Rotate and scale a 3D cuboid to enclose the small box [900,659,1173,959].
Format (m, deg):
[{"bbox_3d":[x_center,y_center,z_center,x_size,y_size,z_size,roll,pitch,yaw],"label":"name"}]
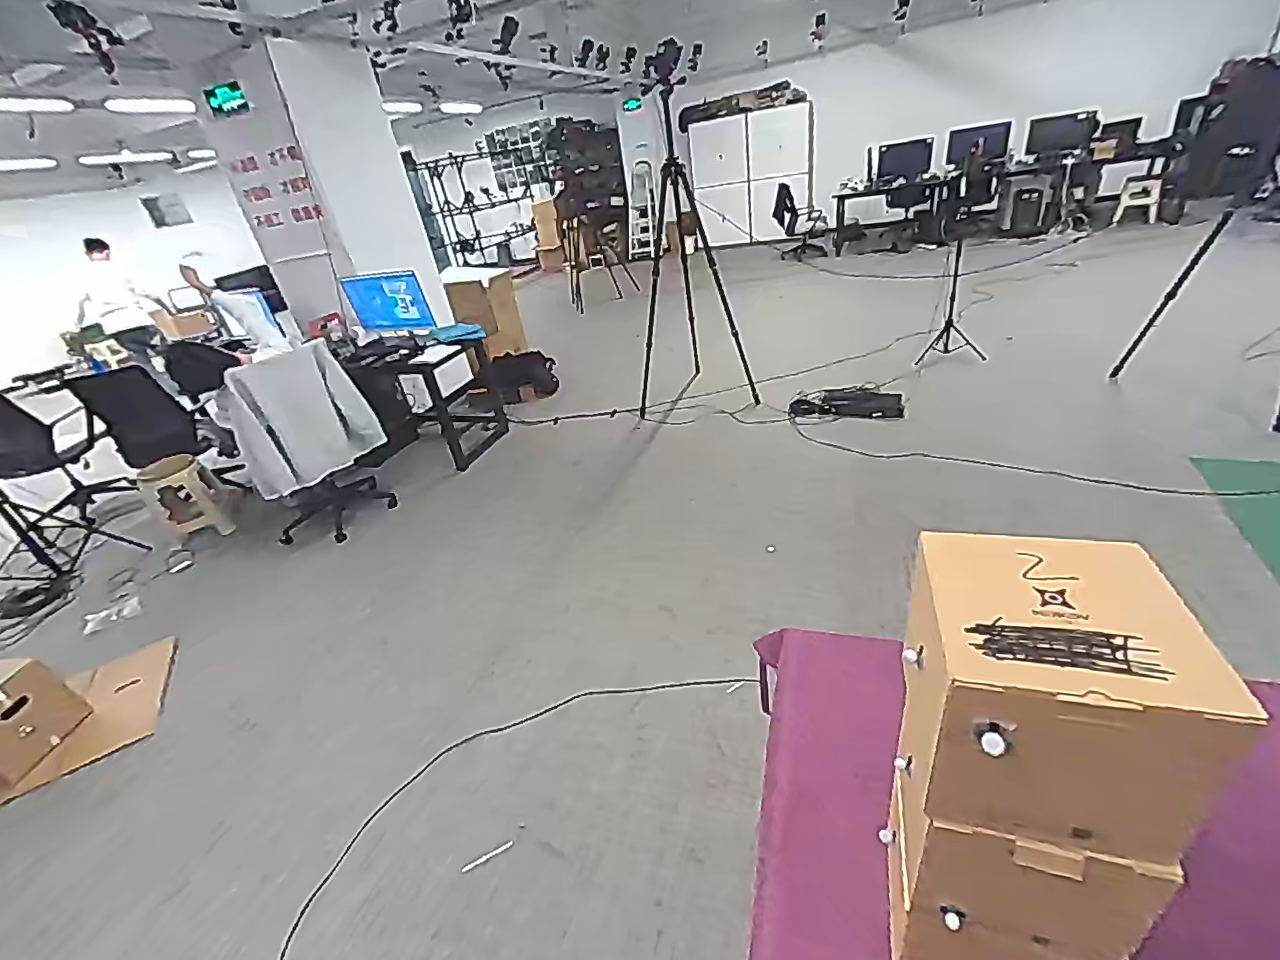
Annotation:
[{"bbox_3d":[0.352,0.307,0.523,0.168,0.176,0.179,2,31,21],"label":"small box"}]

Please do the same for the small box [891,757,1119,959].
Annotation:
[{"bbox_3d":[0.379,0.449,0.601,0.179,0.176,0.168,2,33,22],"label":"small box"}]
